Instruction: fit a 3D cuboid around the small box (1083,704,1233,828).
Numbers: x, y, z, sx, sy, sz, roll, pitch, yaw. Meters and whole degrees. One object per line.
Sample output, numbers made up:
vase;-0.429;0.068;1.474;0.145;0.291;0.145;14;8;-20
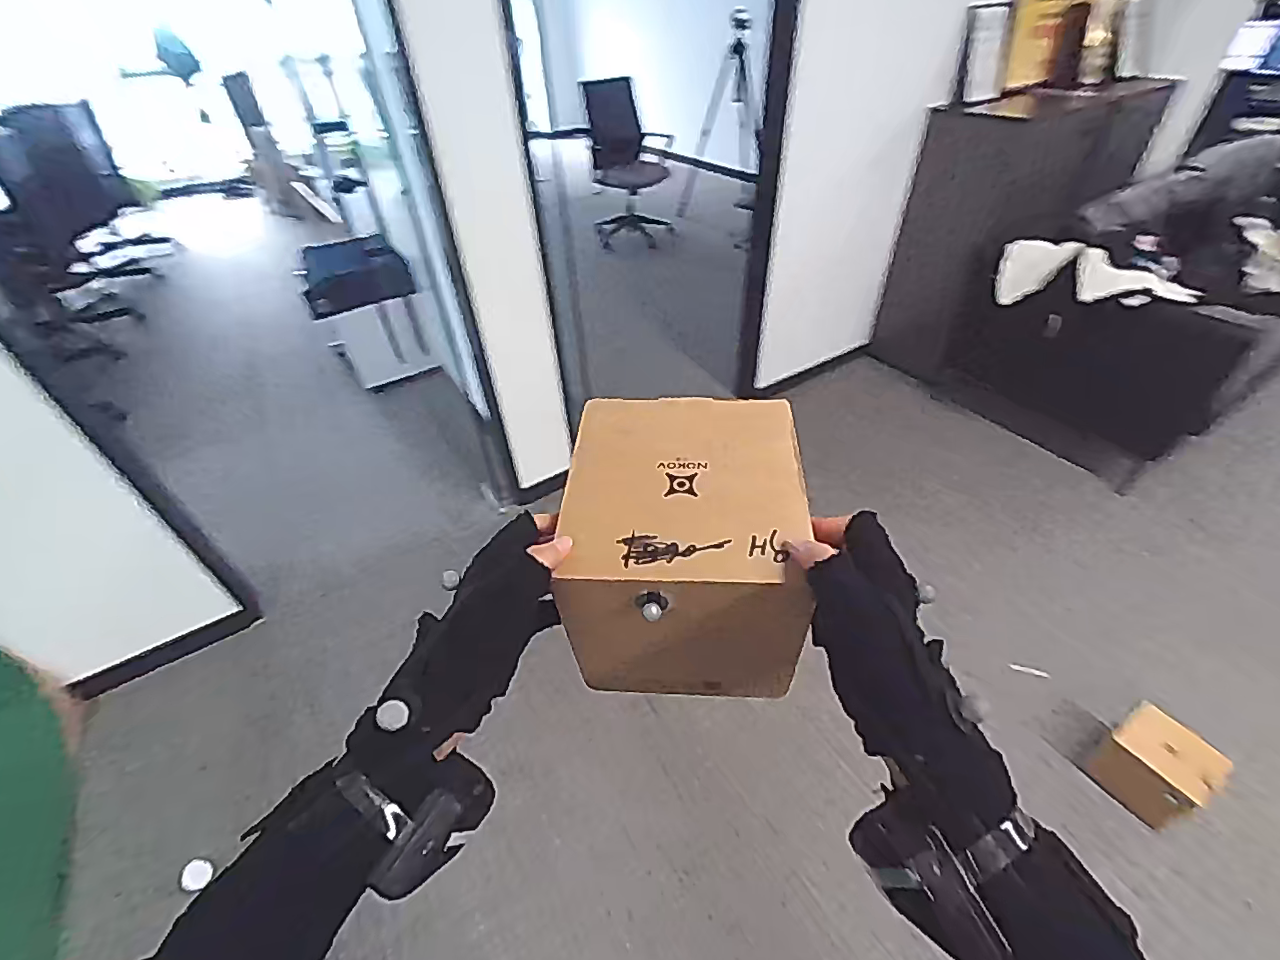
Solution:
small box;1.219;0.681;1.288;0.168;0.176;0.179;-25;46;-22

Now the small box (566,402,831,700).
small box;0.048;0.055;0.443;0.168;0.176;0.179;1;45;8
